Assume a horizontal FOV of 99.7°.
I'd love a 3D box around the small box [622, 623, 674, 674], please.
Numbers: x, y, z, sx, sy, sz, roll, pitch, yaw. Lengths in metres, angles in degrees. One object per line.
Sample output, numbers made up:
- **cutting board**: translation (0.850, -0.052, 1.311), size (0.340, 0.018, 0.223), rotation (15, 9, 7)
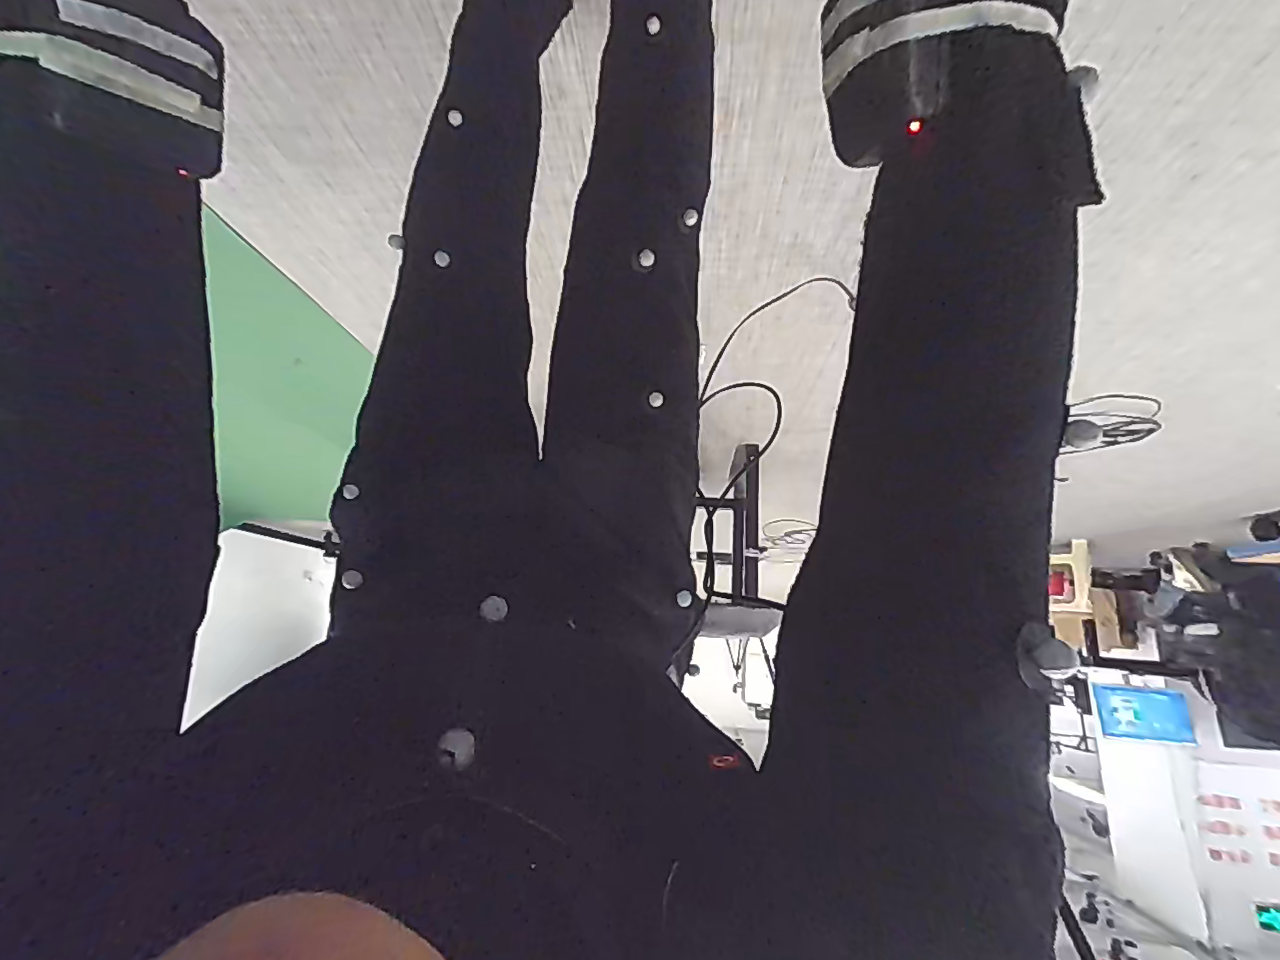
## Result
- **small box**: translation (0.035, 0.650, 2.087), size (0.168, 0.176, 0.179), rotation (0, 163, 14)
